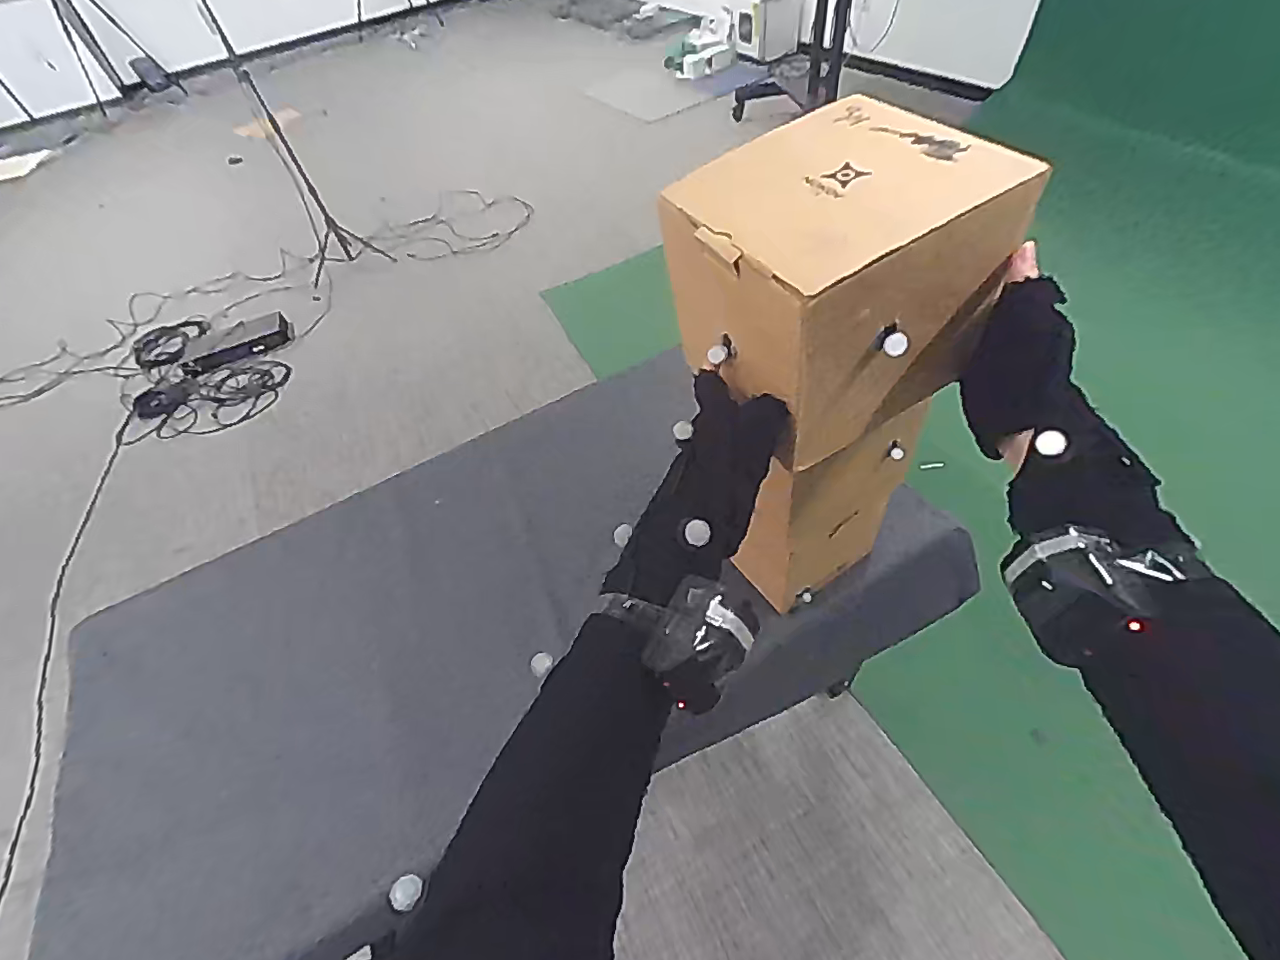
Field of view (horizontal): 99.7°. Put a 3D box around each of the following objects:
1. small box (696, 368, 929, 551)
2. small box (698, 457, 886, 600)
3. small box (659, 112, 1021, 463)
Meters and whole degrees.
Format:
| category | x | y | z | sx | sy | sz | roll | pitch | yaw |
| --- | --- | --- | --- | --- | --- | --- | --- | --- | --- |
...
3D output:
| category | x | y | z | sx | sy | sz | roll | pitch | yaw |
| --- | --- | --- | --- | --- | --- | --- | --- | --- | --- |
| small box | 0.182 | -0.055 | 0.613 | 0.179 | 0.176 | 0.168 | -30 | 51 | -13 |
| small box | 0.200 | 0.041 | 0.743 | 0.168 | 0.176 | 0.179 | -31 | 52 | -15 |
| small box | 0.140 | -0.144 | 0.427 | 0.179 | 0.176 | 0.168 | -30 | 54 | -7 |
